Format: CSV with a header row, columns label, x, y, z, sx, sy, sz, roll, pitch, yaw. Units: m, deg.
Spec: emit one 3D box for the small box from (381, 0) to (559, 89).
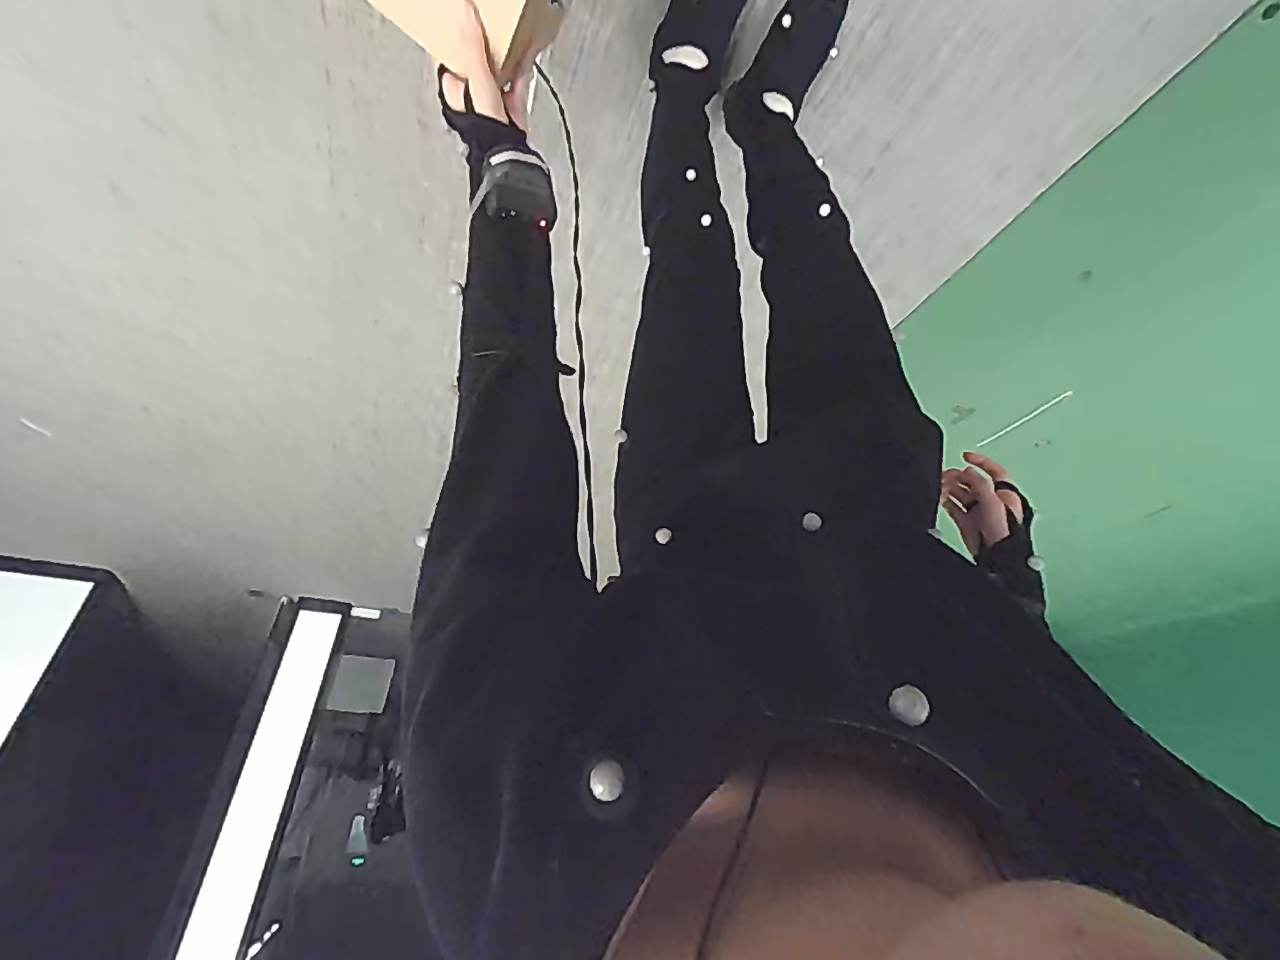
label,x,y,z,sx,sy,sz,roll,pitch,yaw
small box,-0.143,-0.498,0.460,0.179,0.176,0.168,34,141,-22
